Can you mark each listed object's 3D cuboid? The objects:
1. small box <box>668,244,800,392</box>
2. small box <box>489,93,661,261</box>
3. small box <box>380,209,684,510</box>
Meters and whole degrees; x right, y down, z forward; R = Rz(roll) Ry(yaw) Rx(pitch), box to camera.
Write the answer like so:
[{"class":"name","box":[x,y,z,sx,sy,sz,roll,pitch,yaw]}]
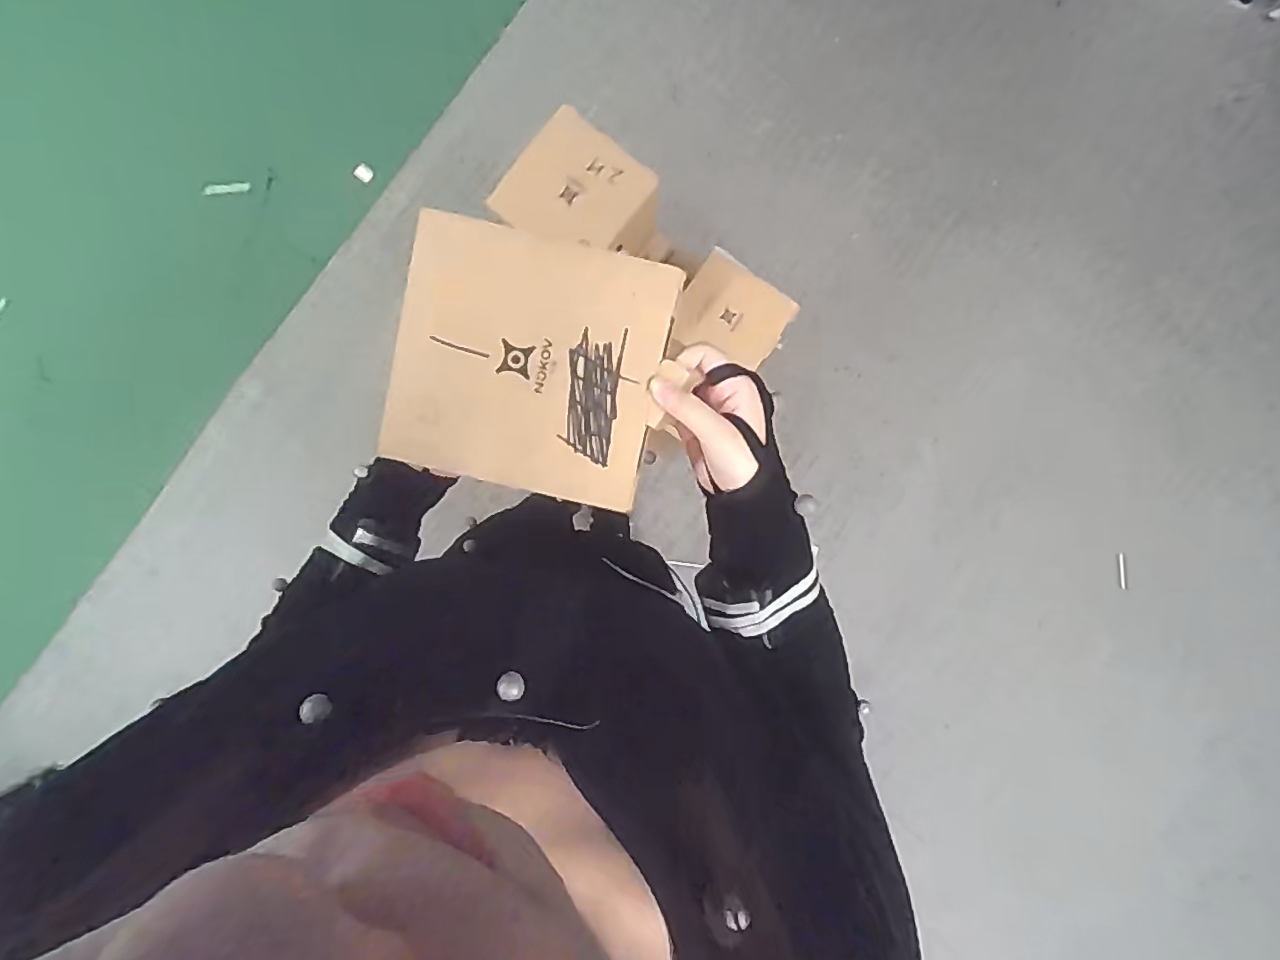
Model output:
[{"class":"small box","box":[0.147,-0.275,0.965,0.179,0.176,0.168,36,89,0]},{"class":"small box","box":[-0.087,-0.394,0.793,0.168,0.176,0.179,40,90,-3]},{"class":"small box","box":[-0.074,-0.087,0.437,0.179,0.176,0.168,13,97,-2]}]
